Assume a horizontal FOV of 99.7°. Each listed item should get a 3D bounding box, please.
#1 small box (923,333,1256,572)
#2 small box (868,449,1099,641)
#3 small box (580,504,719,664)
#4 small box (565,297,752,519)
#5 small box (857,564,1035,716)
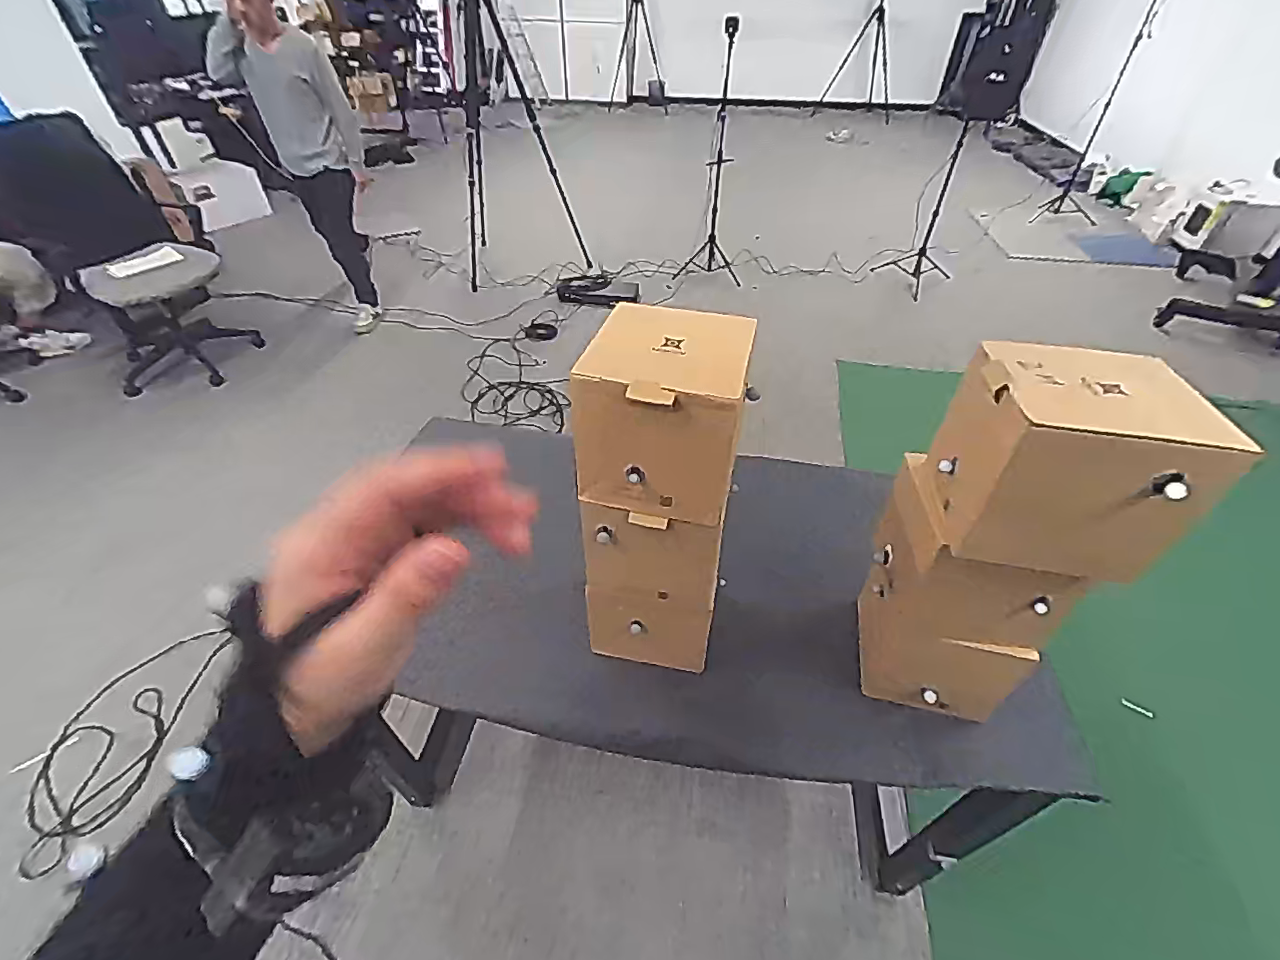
[{"bbox_3d":[0.418,-0.028,0.548,0.179,0.176,0.168,8,40,9],"label":"small box"},{"bbox_3d":[0.408,0.081,0.674,0.179,0.176,0.168,4,40,6],"label":"small box"},{"bbox_3d":[0.020,0.161,0.830,0.179,0.176,0.168,7,43,9],"label":"small box"},{"bbox_3d":[0.024,-0.084,0.612,0.168,0.176,0.179,10,43,10],"label":"small box"},{"bbox_3d":[0.419,0.204,0.779,0.168,0.176,0.179,10,43,11],"label":"small box"}]
